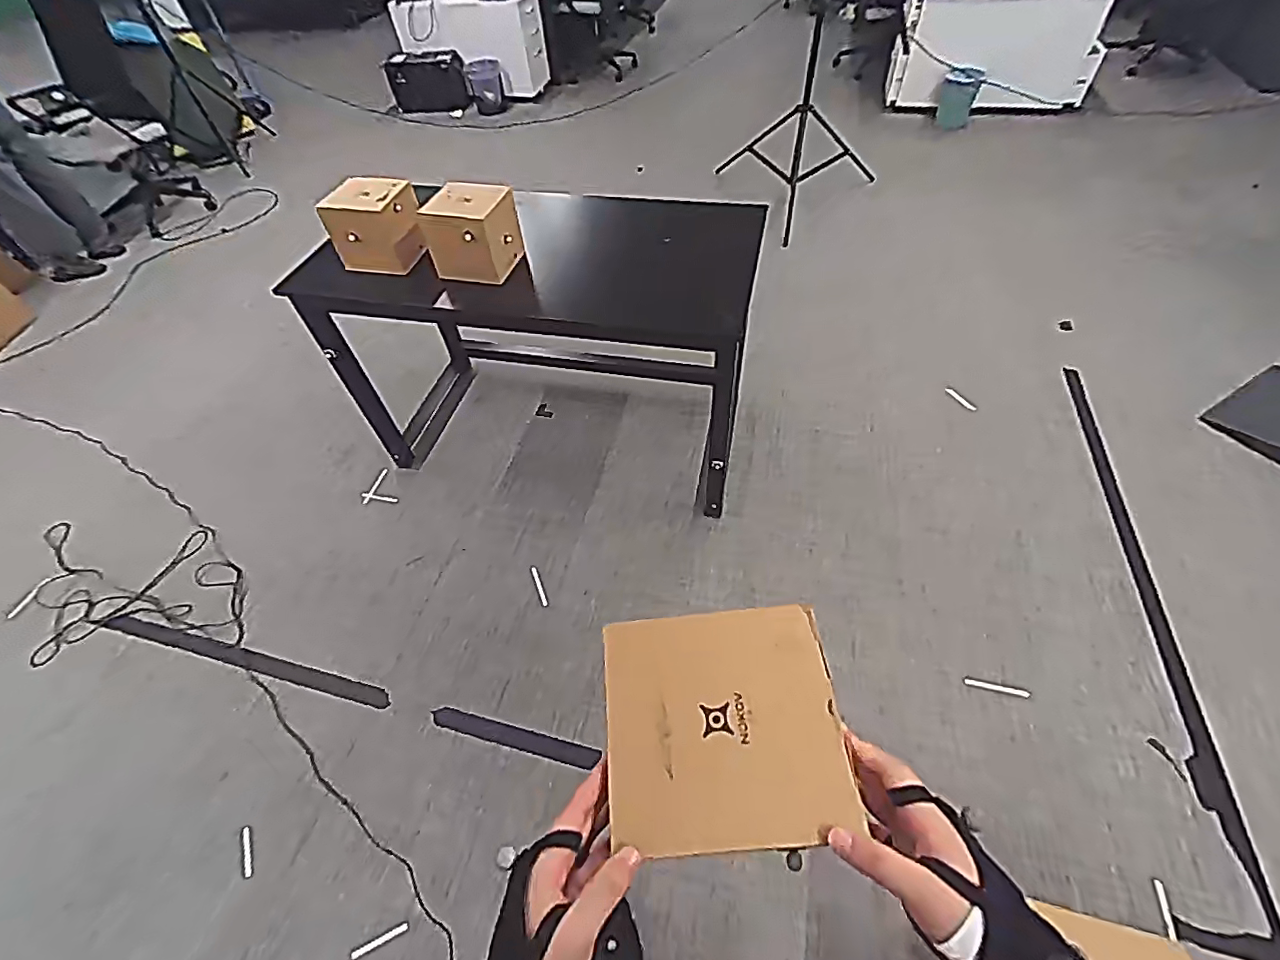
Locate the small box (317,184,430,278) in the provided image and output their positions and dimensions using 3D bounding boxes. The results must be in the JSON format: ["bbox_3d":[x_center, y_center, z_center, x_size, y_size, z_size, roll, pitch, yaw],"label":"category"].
[{"bbox_3d":[-0.679,-0.644,1.403,0.179,0.176,0.168,7,53,10],"label":"small box"}]

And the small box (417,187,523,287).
[{"bbox_3d":[-0.413,-0.604,1.351,0.179,0.176,0.168,10,53,12],"label":"small box"}]
